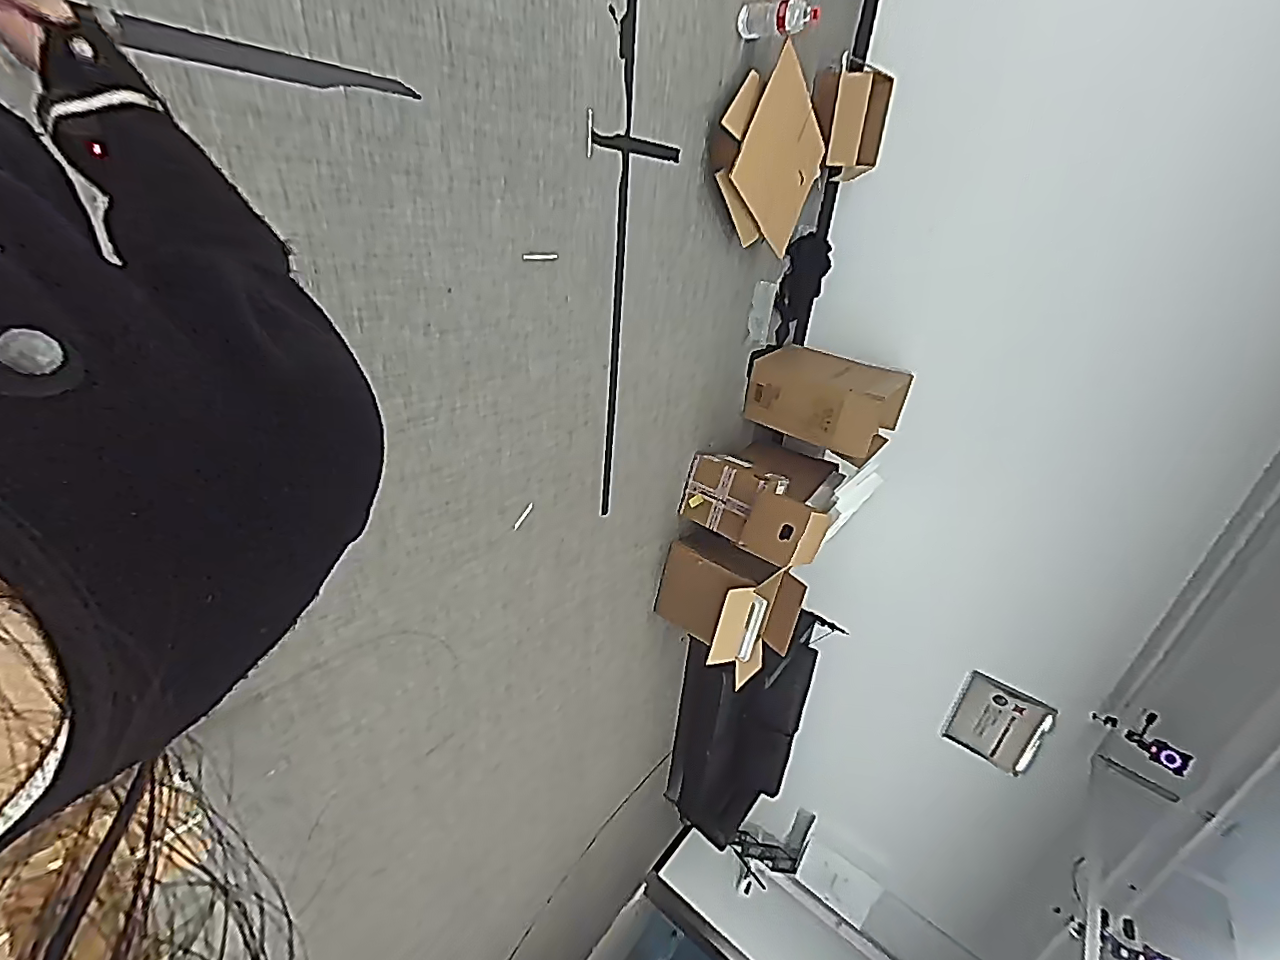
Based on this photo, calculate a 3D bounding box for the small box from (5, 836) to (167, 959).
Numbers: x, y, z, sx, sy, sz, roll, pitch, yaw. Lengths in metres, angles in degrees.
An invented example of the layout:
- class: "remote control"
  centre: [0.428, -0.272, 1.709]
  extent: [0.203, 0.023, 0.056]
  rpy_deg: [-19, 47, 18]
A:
- class: "small box"
  centre: [-1.110, 0.874, 1.088]
  extent: [0.179, 0.176, 0.168]
  rpy_deg: [-27, 129, -44]
